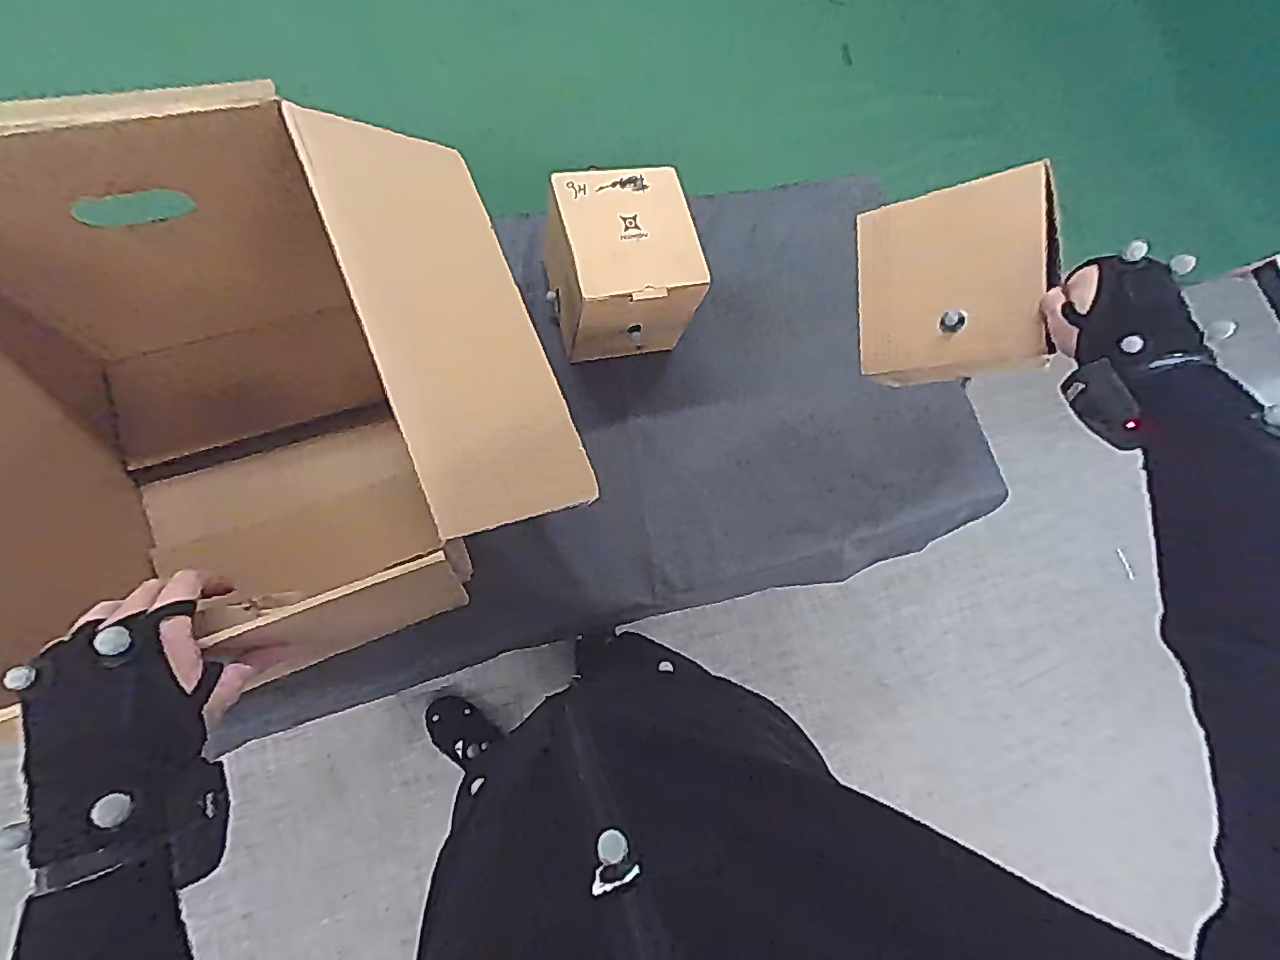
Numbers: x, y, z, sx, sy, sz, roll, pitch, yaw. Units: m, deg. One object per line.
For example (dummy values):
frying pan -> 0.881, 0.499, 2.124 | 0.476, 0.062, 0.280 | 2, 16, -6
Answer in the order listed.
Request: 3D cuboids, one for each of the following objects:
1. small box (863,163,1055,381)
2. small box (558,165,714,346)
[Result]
small box -> 0.360, -0.211, 0.611 | 0.168, 0.176, 0.179 | -7, 95, -53
small box -> -0.016, -0.298, 0.749 | 0.168, 0.176, 0.179 | -10, 81, -14
